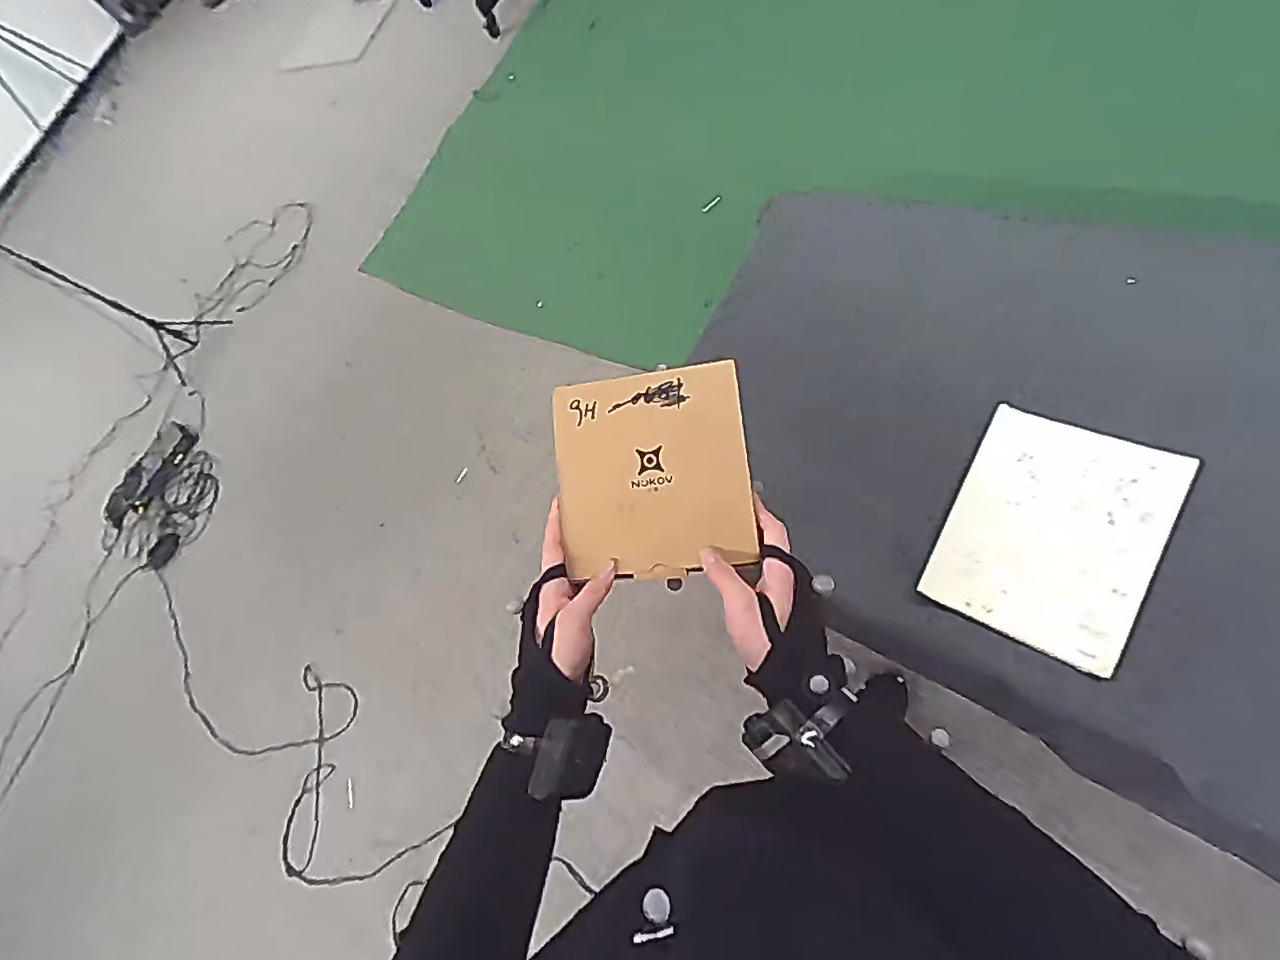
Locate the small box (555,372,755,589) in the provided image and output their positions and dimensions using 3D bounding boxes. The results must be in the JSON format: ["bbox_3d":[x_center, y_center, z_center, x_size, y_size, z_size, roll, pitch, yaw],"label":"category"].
[{"bbox_3d":[0.025,0.010,0.541,0.168,0.176,0.179,-7,81,10],"label":"small box"}]
